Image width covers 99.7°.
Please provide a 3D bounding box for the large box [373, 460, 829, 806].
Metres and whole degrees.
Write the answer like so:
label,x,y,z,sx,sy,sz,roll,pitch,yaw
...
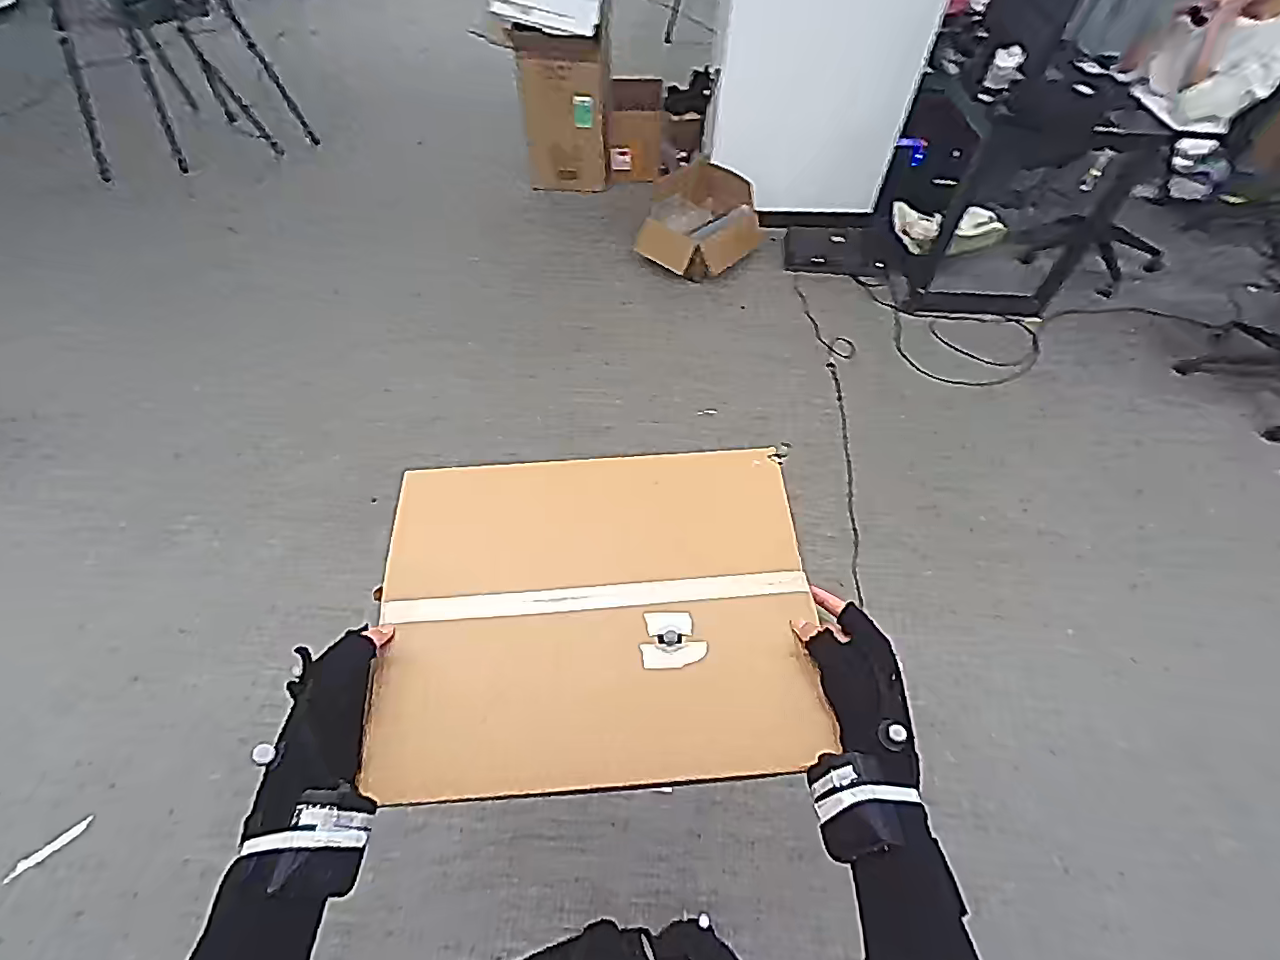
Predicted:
label,x,y,z,sx,sy,sz,roll,pitch,yaw
large box,-0.045,0.198,0.664,0.408,0.320,0.320,-4,61,-3
